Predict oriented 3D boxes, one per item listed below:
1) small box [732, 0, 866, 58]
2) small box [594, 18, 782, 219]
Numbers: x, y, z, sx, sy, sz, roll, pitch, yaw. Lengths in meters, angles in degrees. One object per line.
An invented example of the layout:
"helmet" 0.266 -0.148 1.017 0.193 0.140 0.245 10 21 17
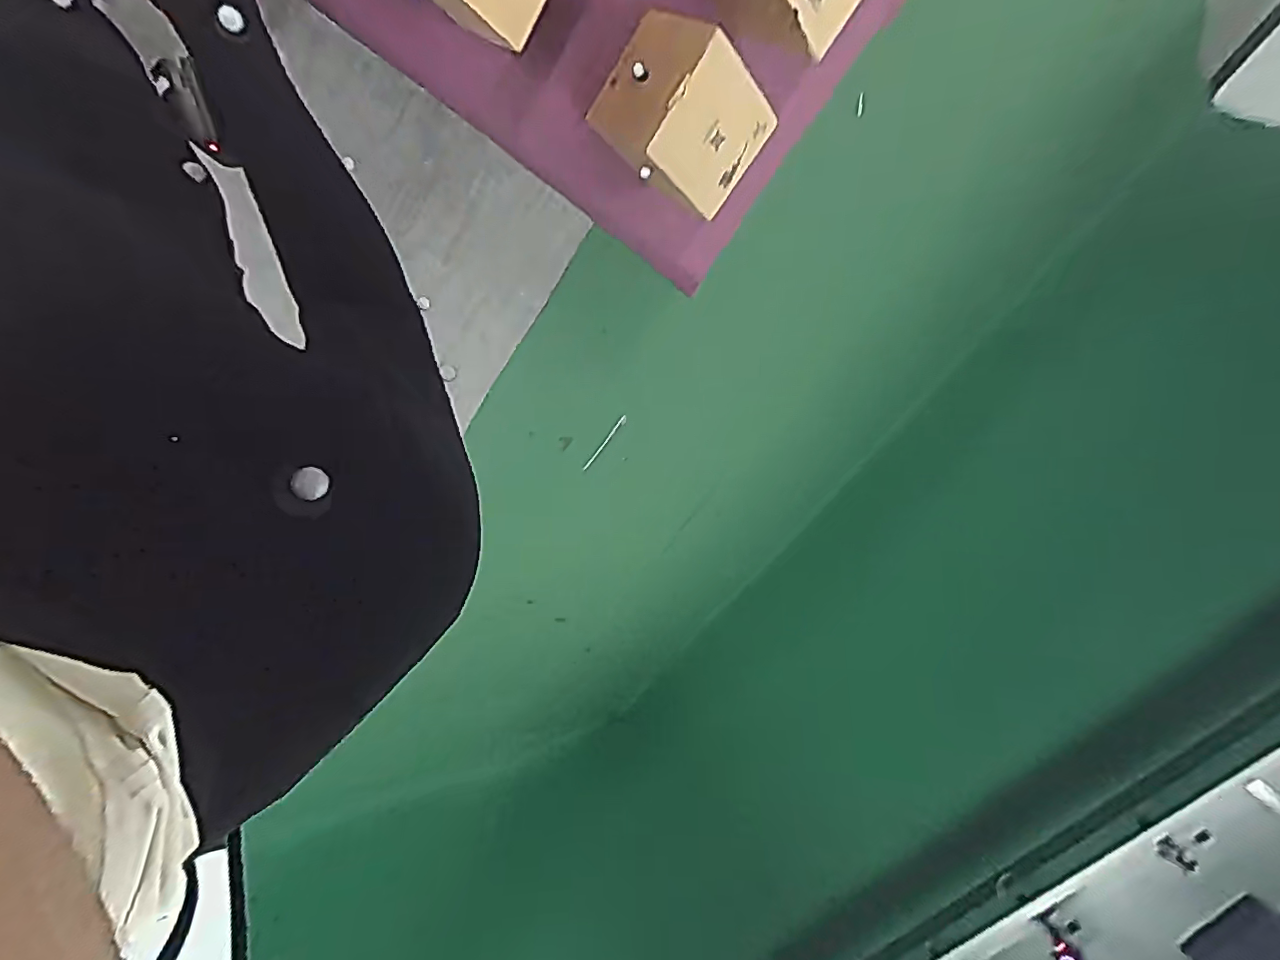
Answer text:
"small box" 0.211 -0.713 0.709 0.168 0.176 0.179 14 119 -49
"small box" 0.065 -0.525 0.787 0.179 0.176 0.168 17 117 -49
